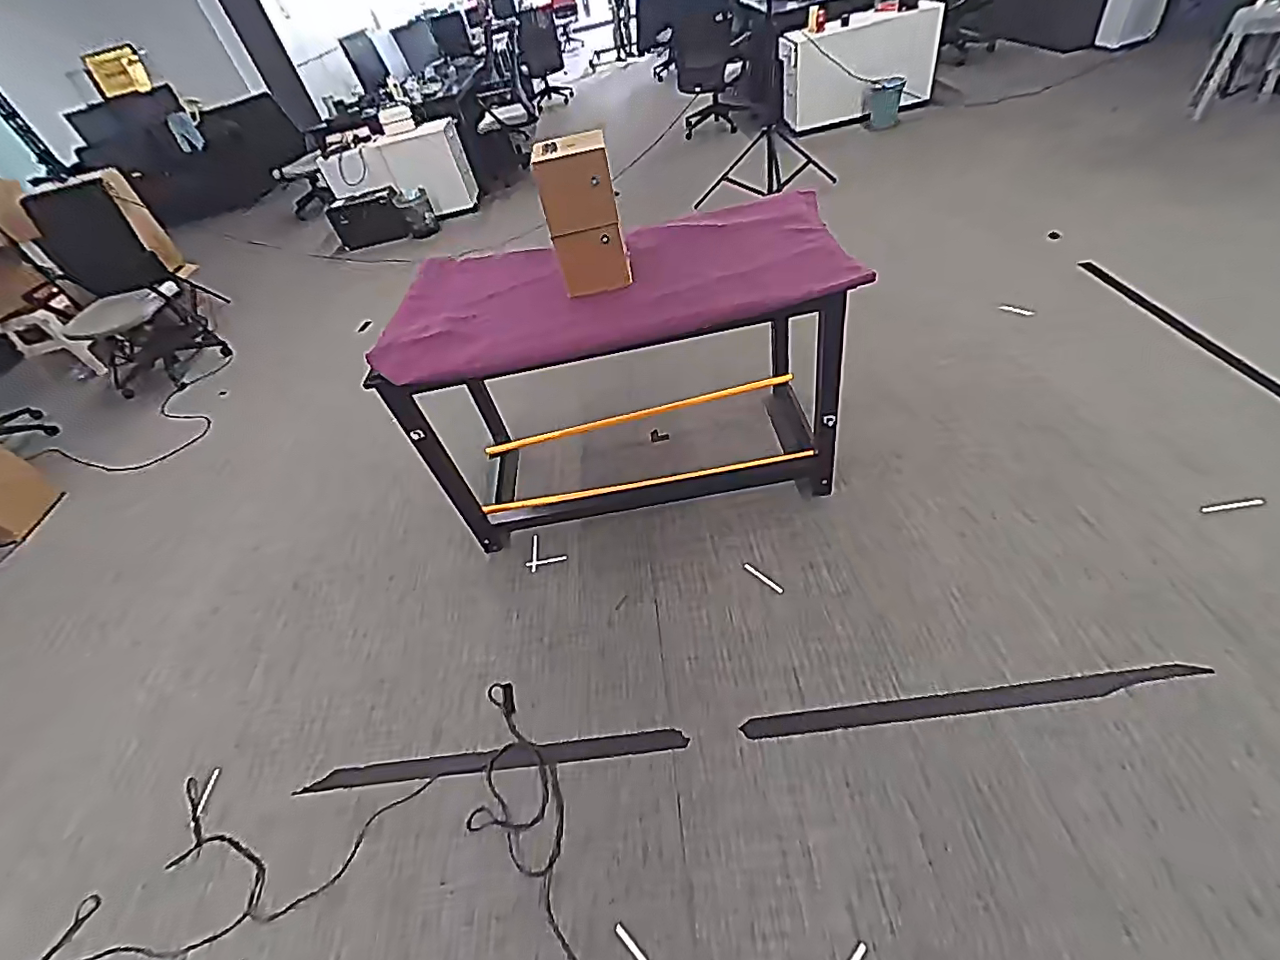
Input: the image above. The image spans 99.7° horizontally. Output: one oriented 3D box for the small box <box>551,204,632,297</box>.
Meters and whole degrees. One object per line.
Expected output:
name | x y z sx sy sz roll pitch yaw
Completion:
small box | -0.126 -0.610 1.448 0.179 0.176 0.168 -10 45 4
